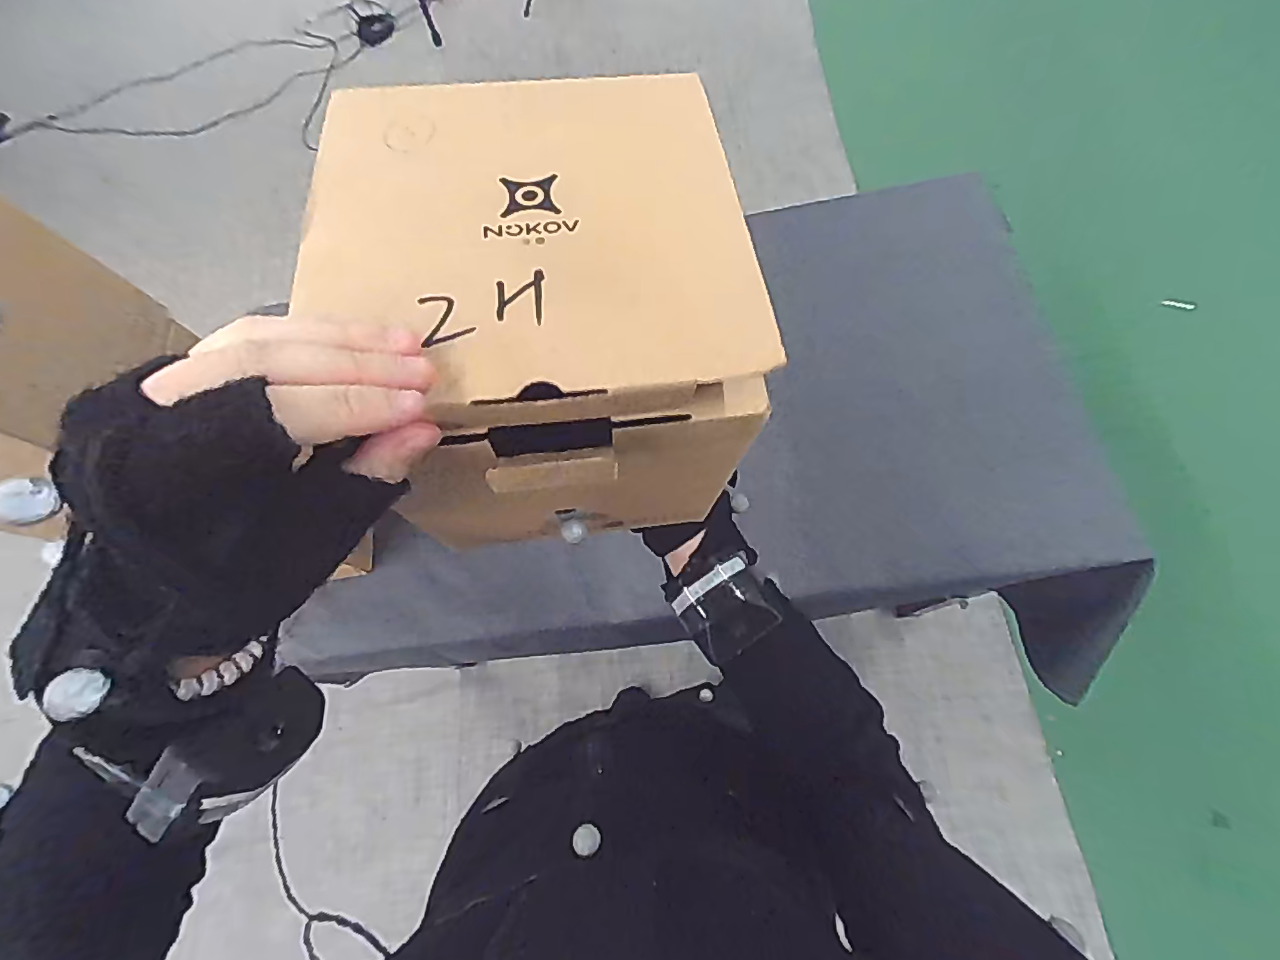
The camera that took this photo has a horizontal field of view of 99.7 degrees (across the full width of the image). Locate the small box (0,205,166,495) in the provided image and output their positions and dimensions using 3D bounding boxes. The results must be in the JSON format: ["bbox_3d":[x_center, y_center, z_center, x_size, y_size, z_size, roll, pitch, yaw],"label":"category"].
[{"bbox_3d":[-0.511,-0.095,0.404,0.168,0.176,0.179,-10,68,3],"label":"small box"}]

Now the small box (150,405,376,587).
[{"bbox_3d":[-0.468,0.029,0.703,0.168,0.176,0.179,-10,69,5],"label":"small box"}]

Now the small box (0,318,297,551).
[{"bbox_3d":[-0.488,-0.031,0.553,0.168,0.176,0.179,-9,69,4],"label":"small box"}]

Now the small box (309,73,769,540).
[{"bbox_3d":[-0.045,-0.075,0.293,0.168,0.176,0.179,-5,73,-4],"label":"small box"}]
